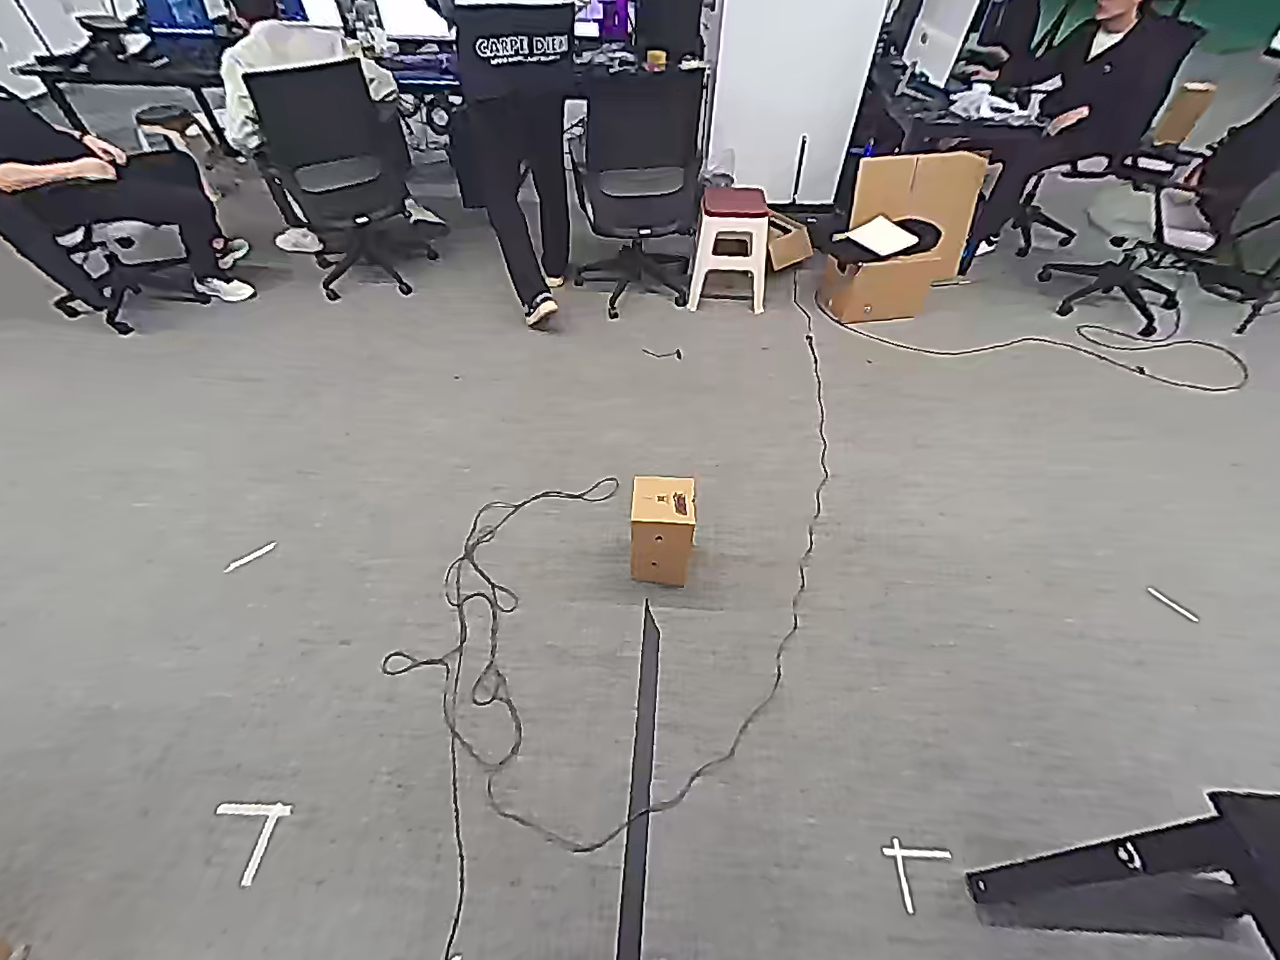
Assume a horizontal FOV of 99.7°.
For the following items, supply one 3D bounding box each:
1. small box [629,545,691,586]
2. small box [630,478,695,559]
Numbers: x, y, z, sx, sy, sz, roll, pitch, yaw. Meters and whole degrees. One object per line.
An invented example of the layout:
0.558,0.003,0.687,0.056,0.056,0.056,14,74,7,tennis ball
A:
0.068,0.217,1.699,0.179,0.176,0.168,8,49,6,small box
0.063,0.115,1.567,0.179,0.176,0.168,3,48,2,small box
